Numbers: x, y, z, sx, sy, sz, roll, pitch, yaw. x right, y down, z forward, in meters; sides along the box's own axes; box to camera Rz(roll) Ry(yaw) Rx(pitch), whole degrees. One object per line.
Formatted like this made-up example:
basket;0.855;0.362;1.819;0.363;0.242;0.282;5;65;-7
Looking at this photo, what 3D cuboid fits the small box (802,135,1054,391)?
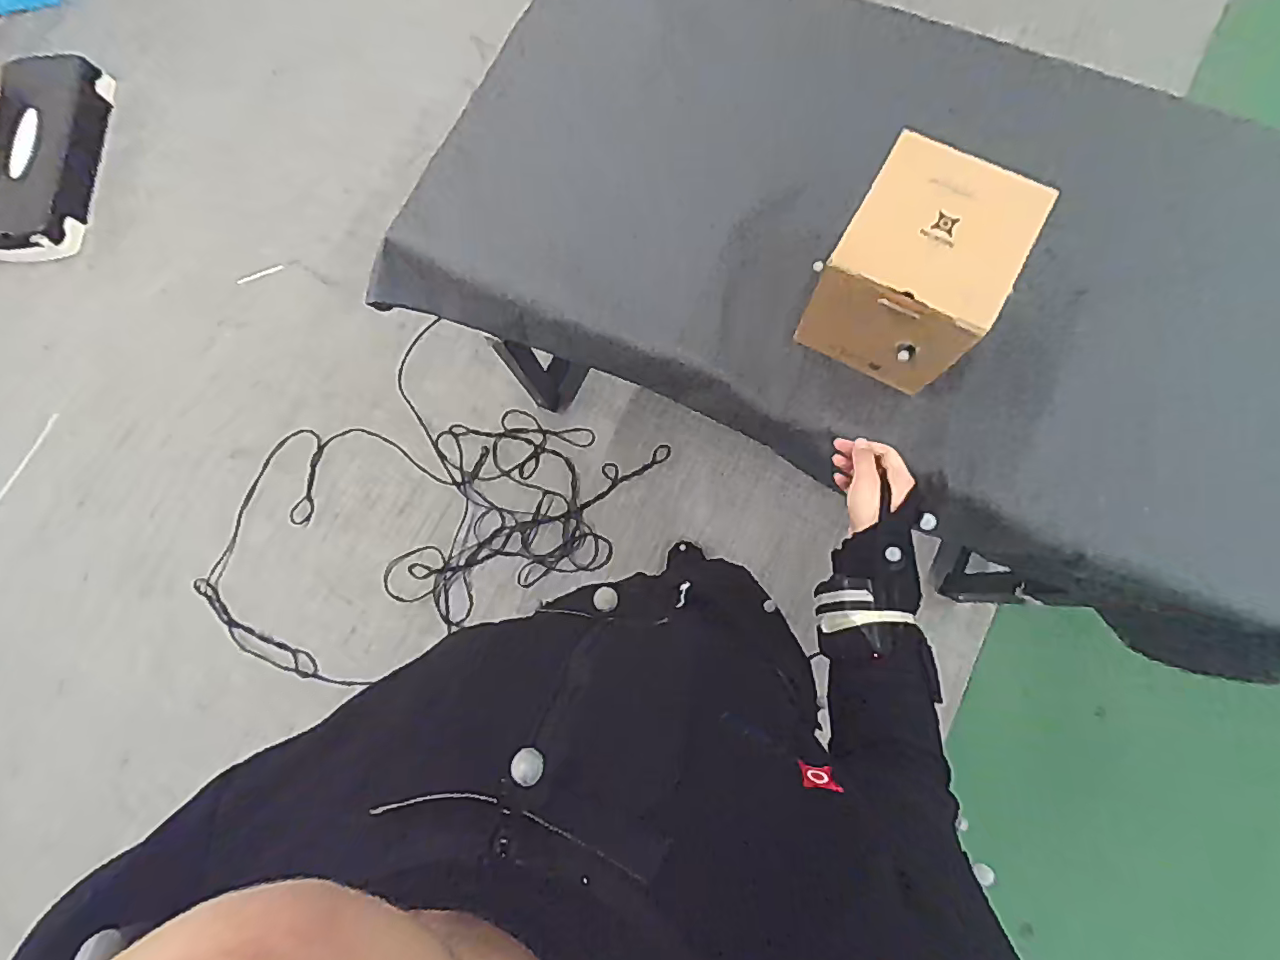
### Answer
small box;0.302;-0.227;0.610;0.168;0.176;0.179;29;80;8
